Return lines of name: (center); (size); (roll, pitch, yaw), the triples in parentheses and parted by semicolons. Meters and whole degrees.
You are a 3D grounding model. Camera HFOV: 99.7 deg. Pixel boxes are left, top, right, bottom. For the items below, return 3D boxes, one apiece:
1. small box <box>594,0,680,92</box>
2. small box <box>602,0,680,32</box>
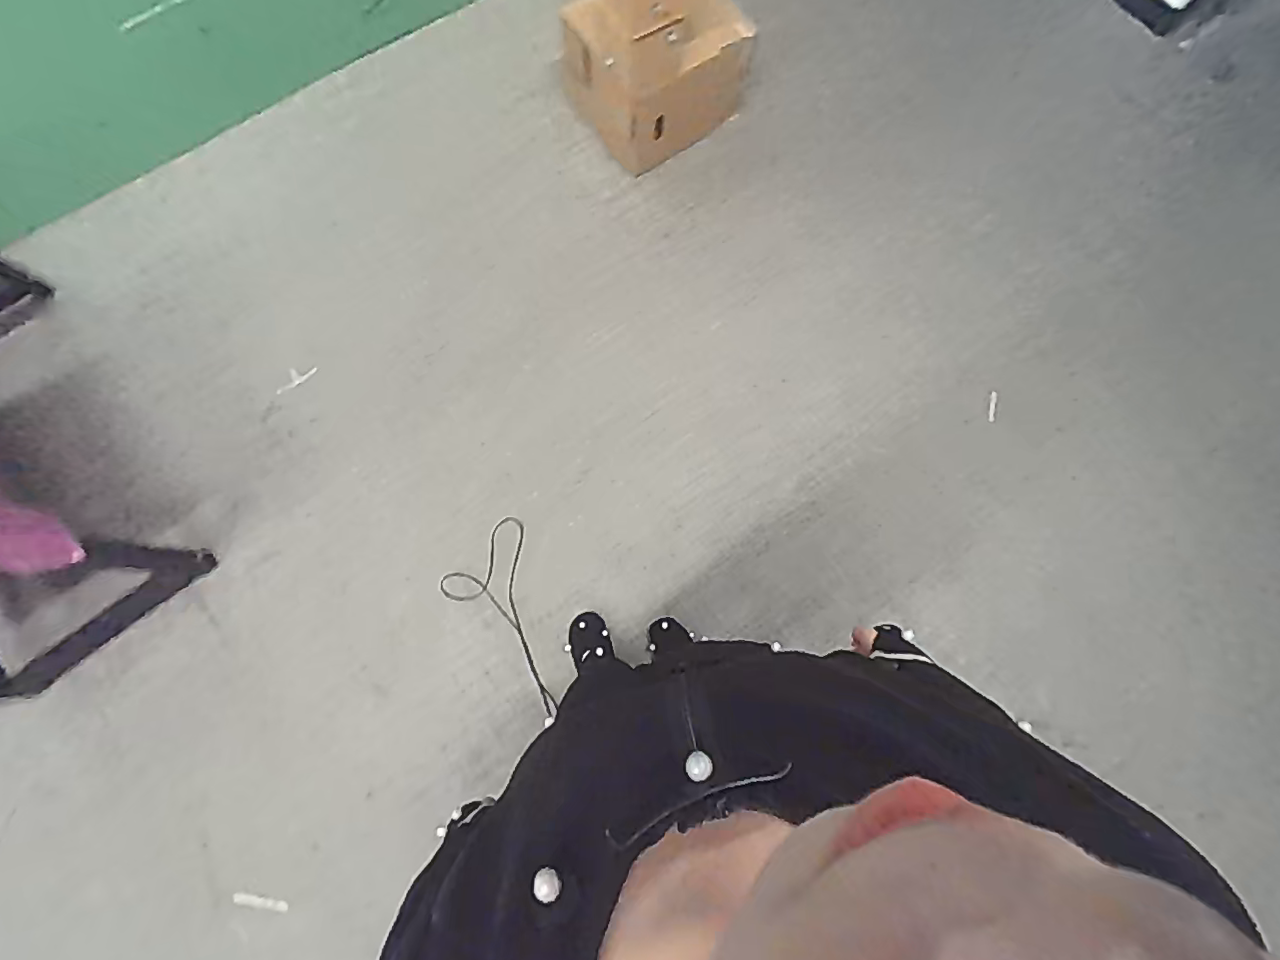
small box: (-0.012, -1.218, 1.474); (0.179, 0.176, 0.168); (-33, 79, -8)
small box: (-0.006, -1.255, 1.315); (0.168, 0.176, 0.179); (-32, 80, -8)
